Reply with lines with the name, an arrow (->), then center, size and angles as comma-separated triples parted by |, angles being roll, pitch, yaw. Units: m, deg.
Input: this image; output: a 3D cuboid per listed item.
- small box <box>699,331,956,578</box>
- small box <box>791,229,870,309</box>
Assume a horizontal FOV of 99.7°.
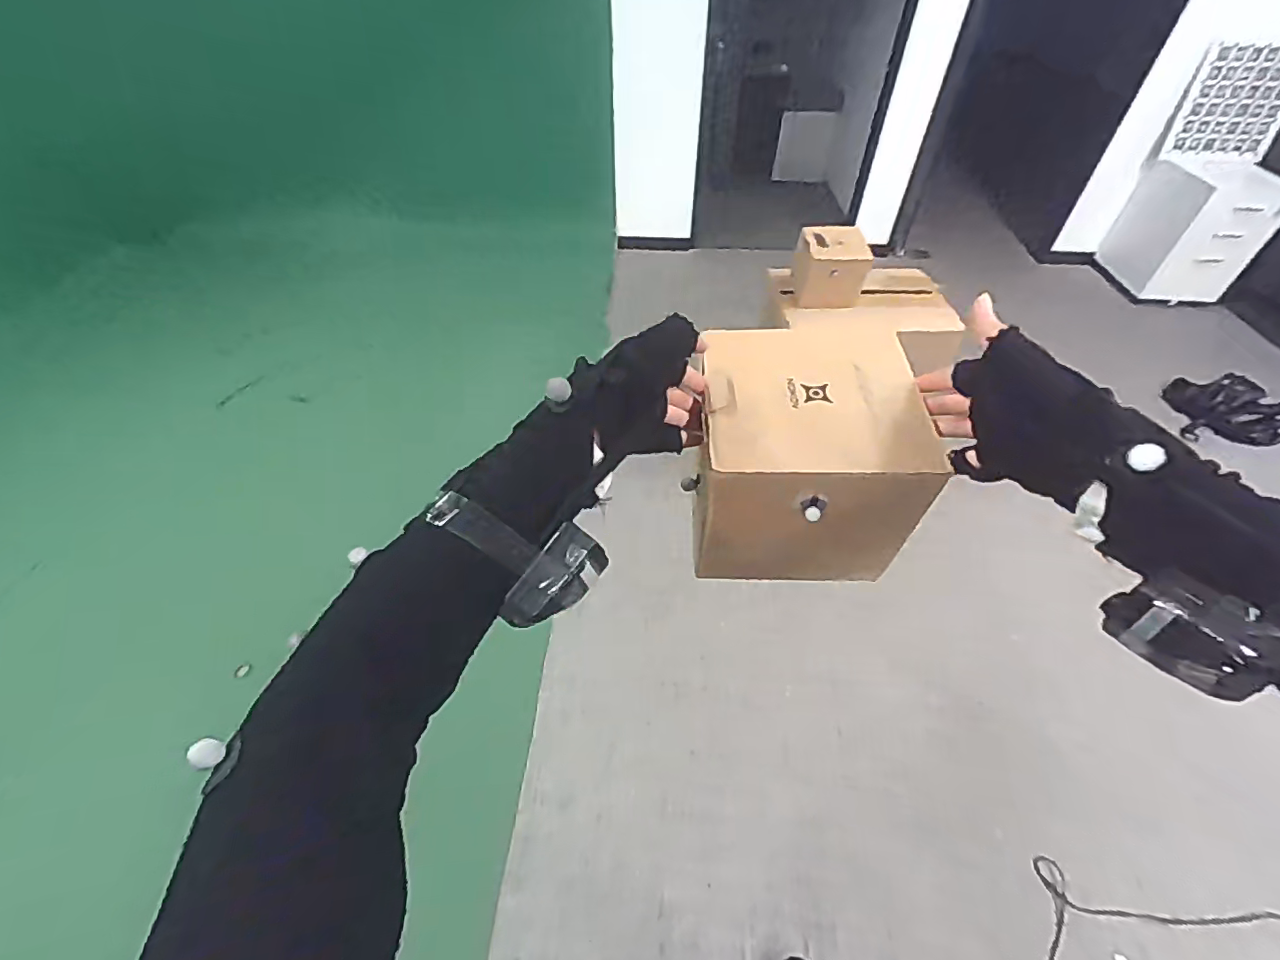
small box -> 0.147, -0.019, 0.504 | 0.179, 0.176, 0.168 | 1, 52, 1
small box -> 0.568, -0.638, 1.642 | 0.179, 0.176, 0.168 | 0, 56, -2
